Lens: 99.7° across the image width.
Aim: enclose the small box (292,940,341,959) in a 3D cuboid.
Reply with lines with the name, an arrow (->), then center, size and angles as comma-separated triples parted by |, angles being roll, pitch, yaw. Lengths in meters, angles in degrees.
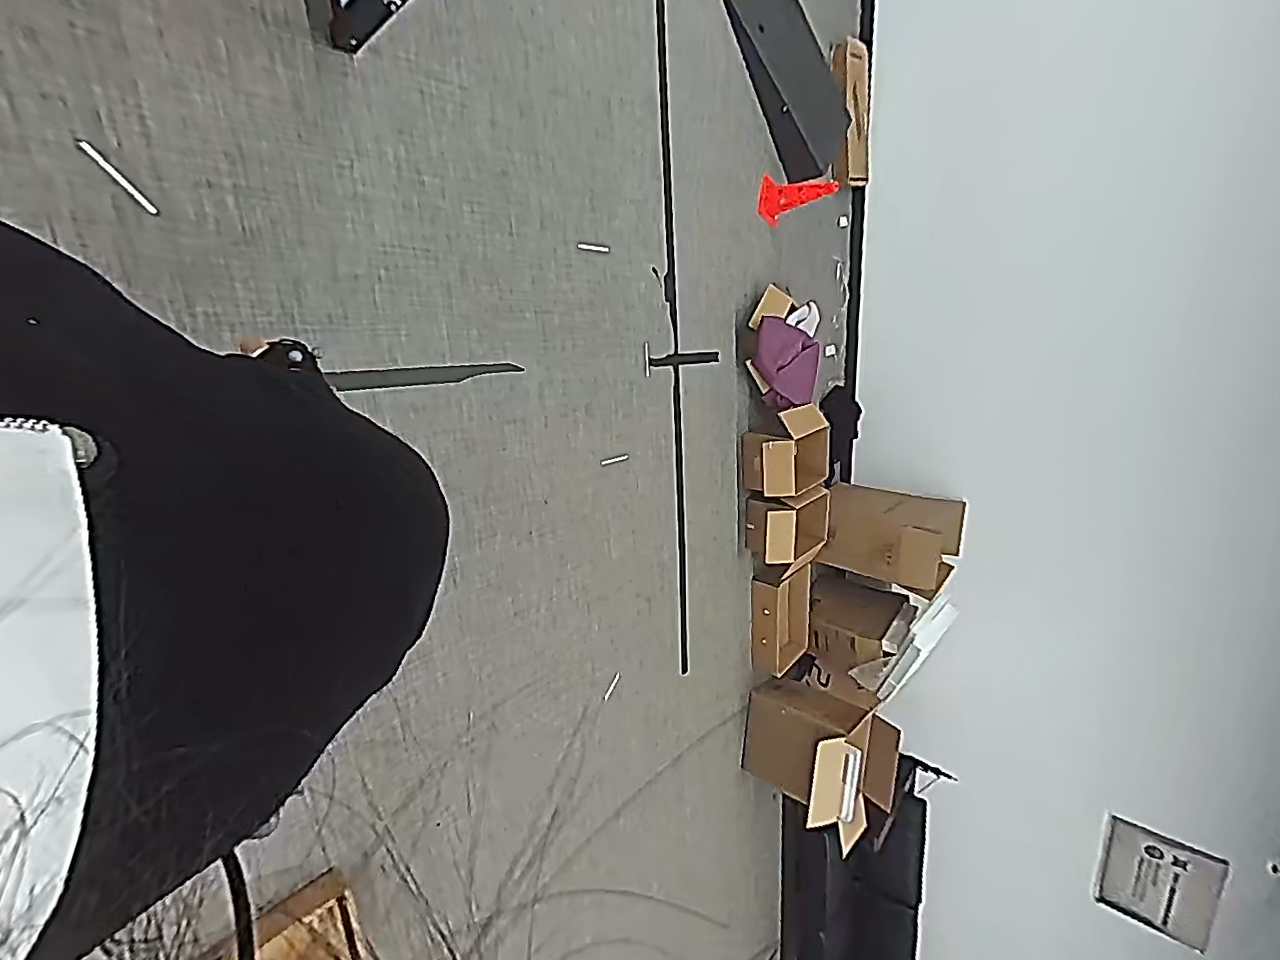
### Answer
small box -> -0.844, 1.334, 1.374 | 0.168, 0.176, 0.179 | -16, 109, -45
